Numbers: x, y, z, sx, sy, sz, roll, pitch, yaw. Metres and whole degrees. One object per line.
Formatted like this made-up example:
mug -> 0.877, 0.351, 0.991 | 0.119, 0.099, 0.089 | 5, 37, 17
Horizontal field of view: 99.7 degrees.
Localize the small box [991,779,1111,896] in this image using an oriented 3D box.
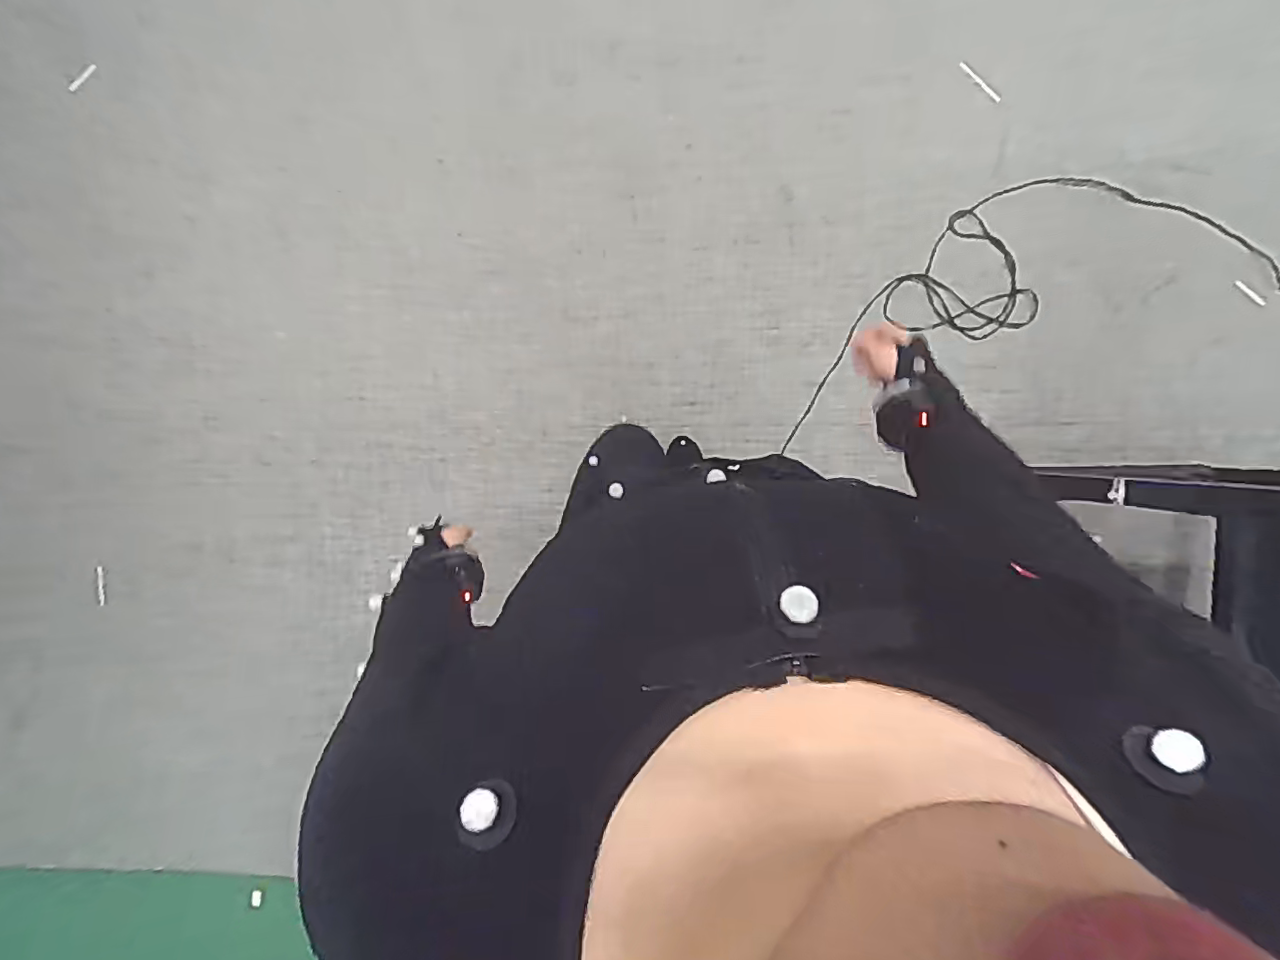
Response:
small box -> 1.060, 0.921, 1.411 | 0.168, 0.176, 0.179 | 13, 95, 2
